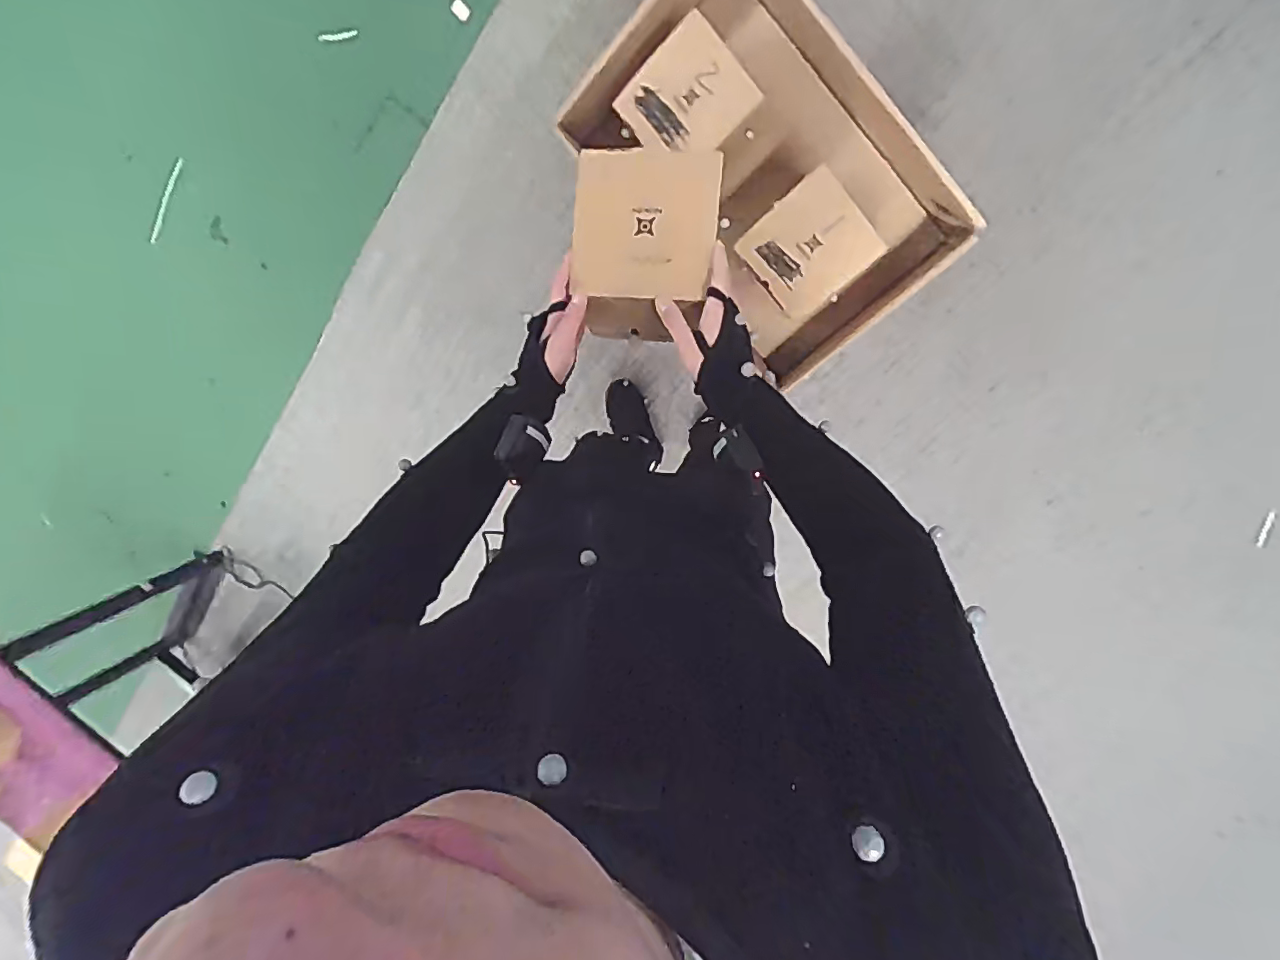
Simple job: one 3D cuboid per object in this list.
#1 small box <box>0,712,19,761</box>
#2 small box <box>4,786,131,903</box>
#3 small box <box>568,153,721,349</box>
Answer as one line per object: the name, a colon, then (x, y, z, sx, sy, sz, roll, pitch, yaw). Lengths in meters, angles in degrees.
small box: (-1.856, 0.721, 1.461, 0.168, 0.176, 0.179, 43, 113, -3)
small box: (-1.553, 0.988, 1.475, 0.168, 0.176, 0.179, 43, 112, -2)
small box: (0.011, -0.282, 0.694, 0.168, 0.176, 0.179, 4, 87, 5)
